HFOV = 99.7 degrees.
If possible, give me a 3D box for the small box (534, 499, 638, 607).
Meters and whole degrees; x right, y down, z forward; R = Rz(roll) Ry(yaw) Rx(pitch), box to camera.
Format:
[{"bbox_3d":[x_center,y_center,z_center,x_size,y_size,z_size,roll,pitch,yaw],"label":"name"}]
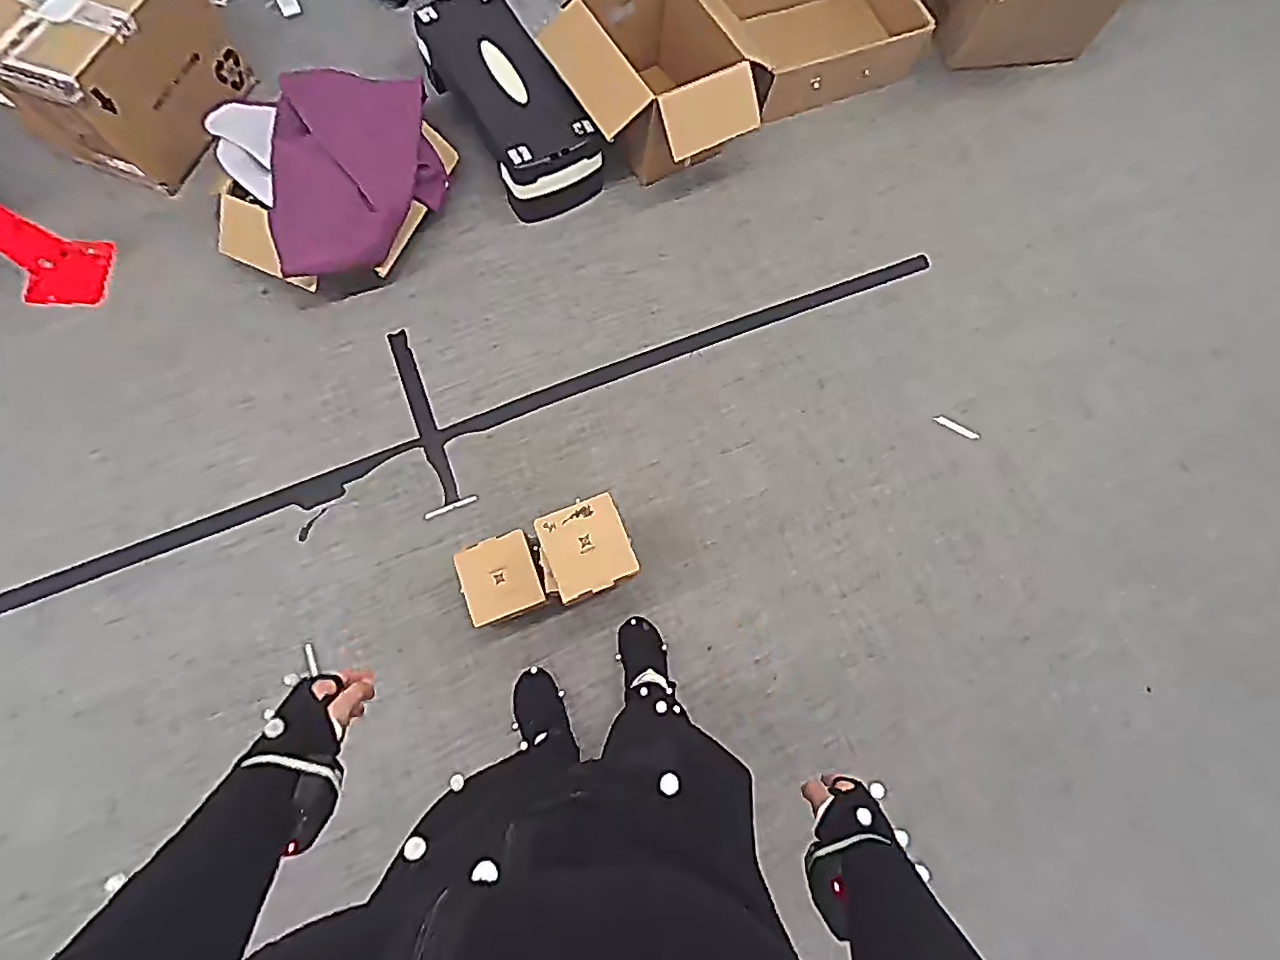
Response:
[{"bbox_3d":[-0.114,0.161,1.158,0.168,0.176,0.179,-21,78,-10],"label":"small box"}]
